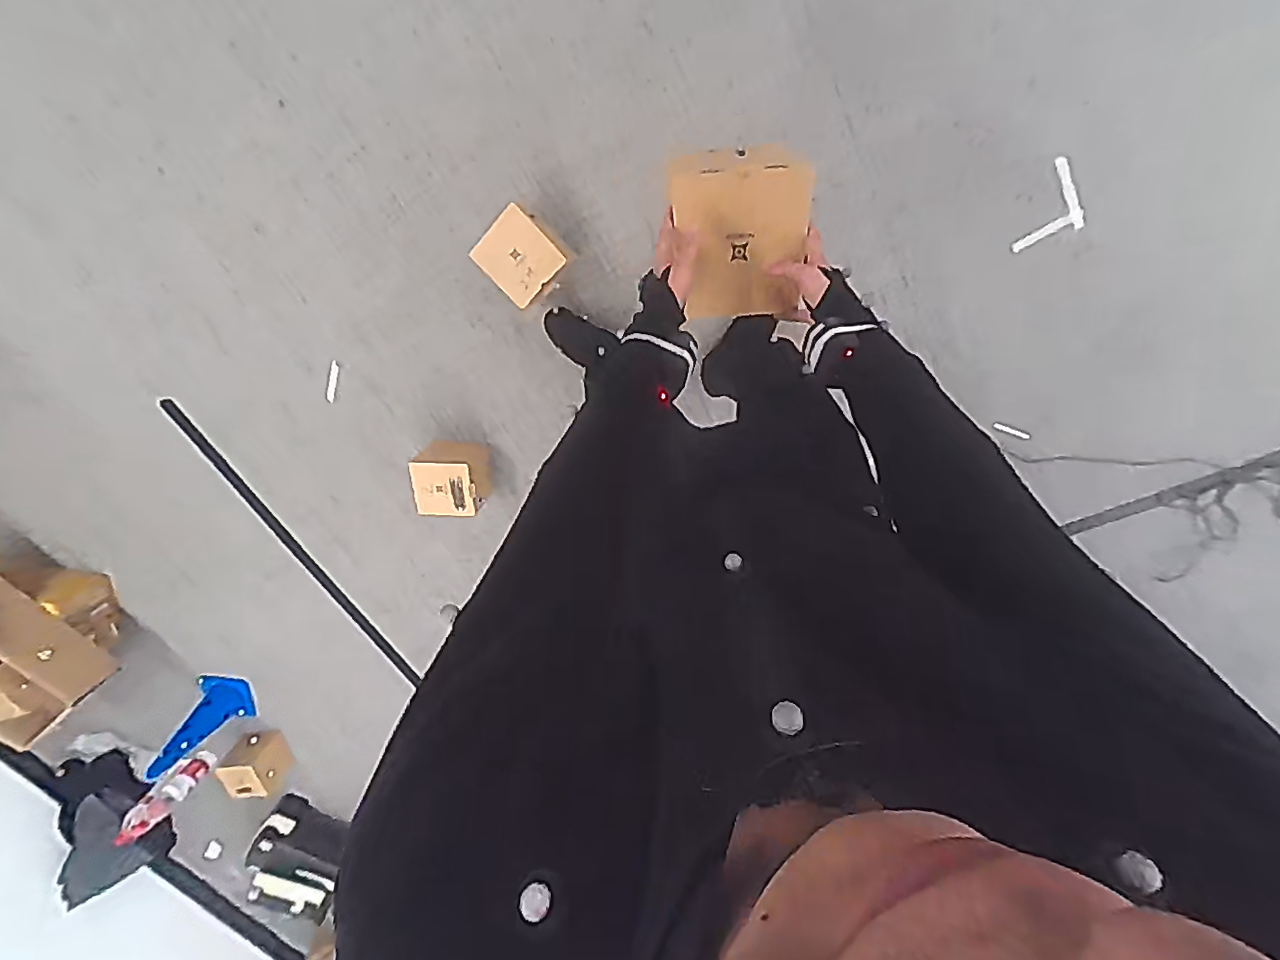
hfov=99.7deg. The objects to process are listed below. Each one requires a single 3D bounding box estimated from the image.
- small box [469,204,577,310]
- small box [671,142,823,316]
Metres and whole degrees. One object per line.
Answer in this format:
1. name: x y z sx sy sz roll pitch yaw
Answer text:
1. small box: -0.281 -0.547 1.336 0.168 0.176 0.179 -41 105 20
2. small box: 0.129 -0.336 0.722 0.168 0.176 0.179 -3 127 1
